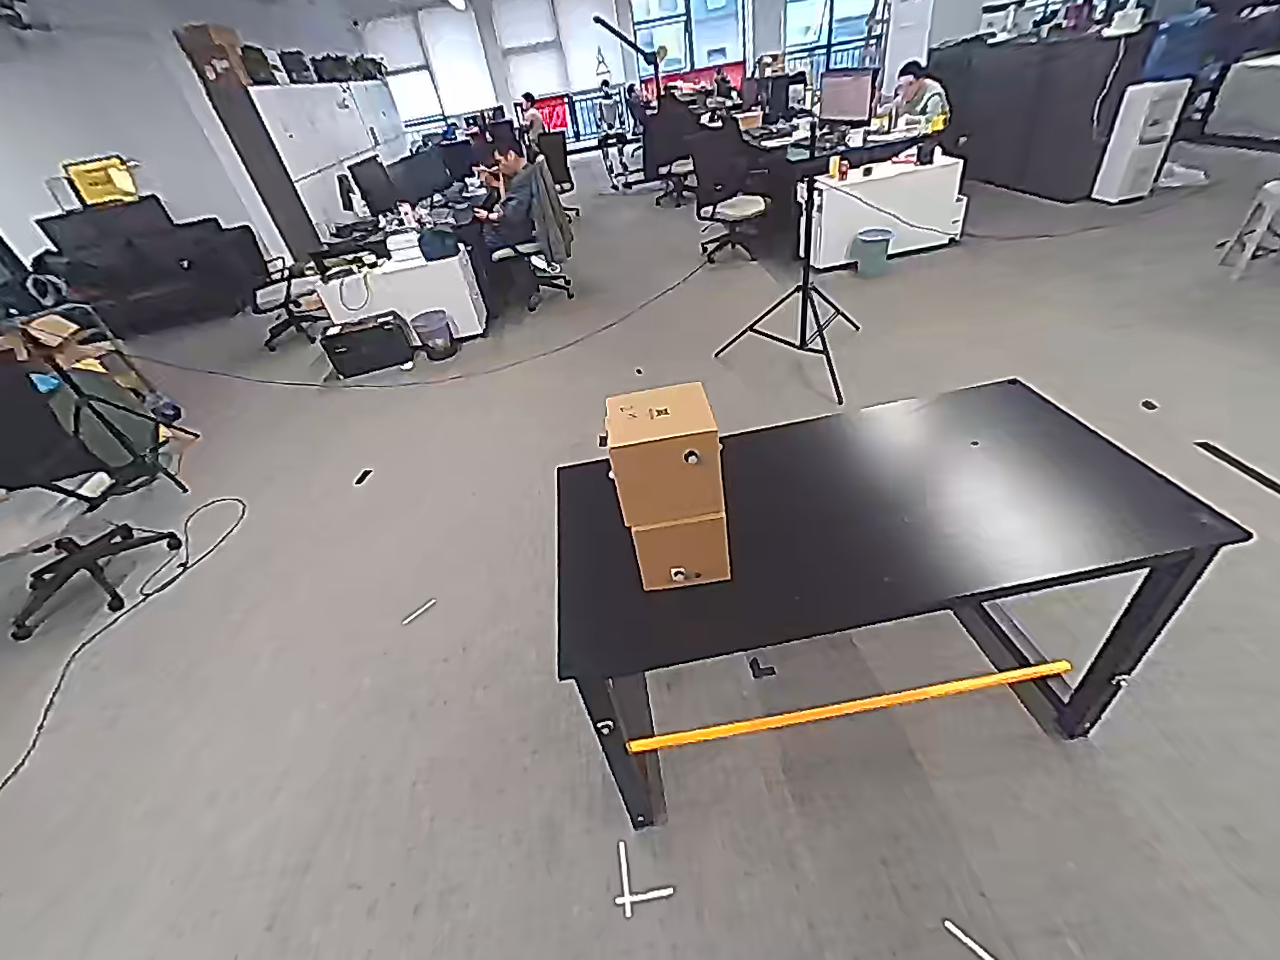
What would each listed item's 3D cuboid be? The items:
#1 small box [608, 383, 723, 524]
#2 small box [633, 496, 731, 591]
[{"bbox_3d":[0.045,-0.045,0.943,0.179,0.176,0.168,-10,37,3],"label":"small box"},{"bbox_3d":[0.076,0.087,1.039,0.168,0.176,0.179,-10,39,3],"label":"small box"}]
